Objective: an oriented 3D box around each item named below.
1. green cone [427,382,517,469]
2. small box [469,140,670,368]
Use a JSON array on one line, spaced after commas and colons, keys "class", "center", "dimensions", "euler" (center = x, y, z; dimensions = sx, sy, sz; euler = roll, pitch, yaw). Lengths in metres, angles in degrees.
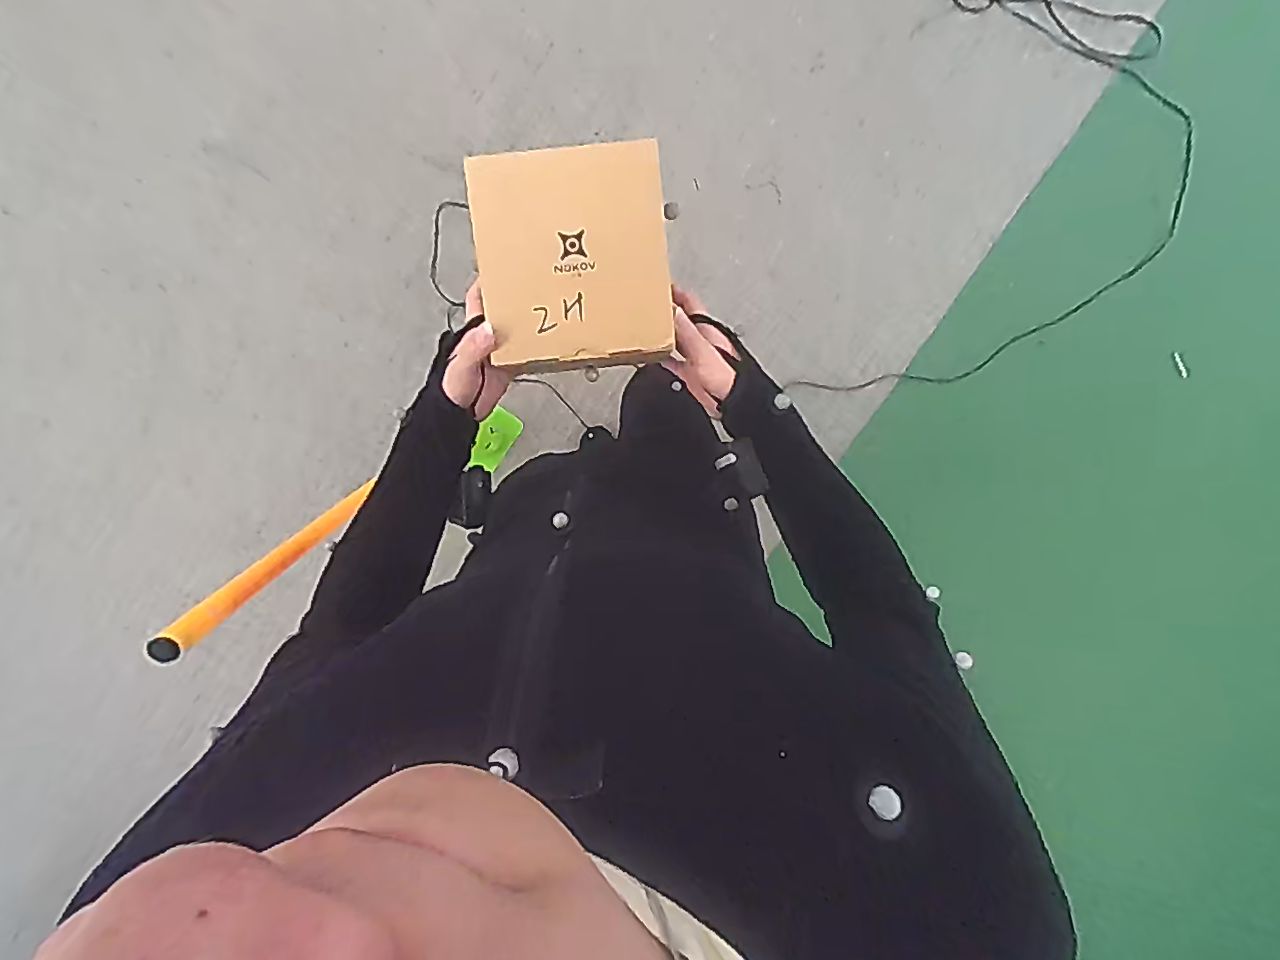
[{"class": "green cone", "center": [-0.479, -0.135, 1.419], "dimensions": [0.200, 0.368, 0.202], "euler": [35, 95, -7]}, {"class": "small box", "center": [-0.063, -0.213, 0.553], "dimensions": [0.168, 0.176, 0.179], "euler": [-5, 99, -1]}]
